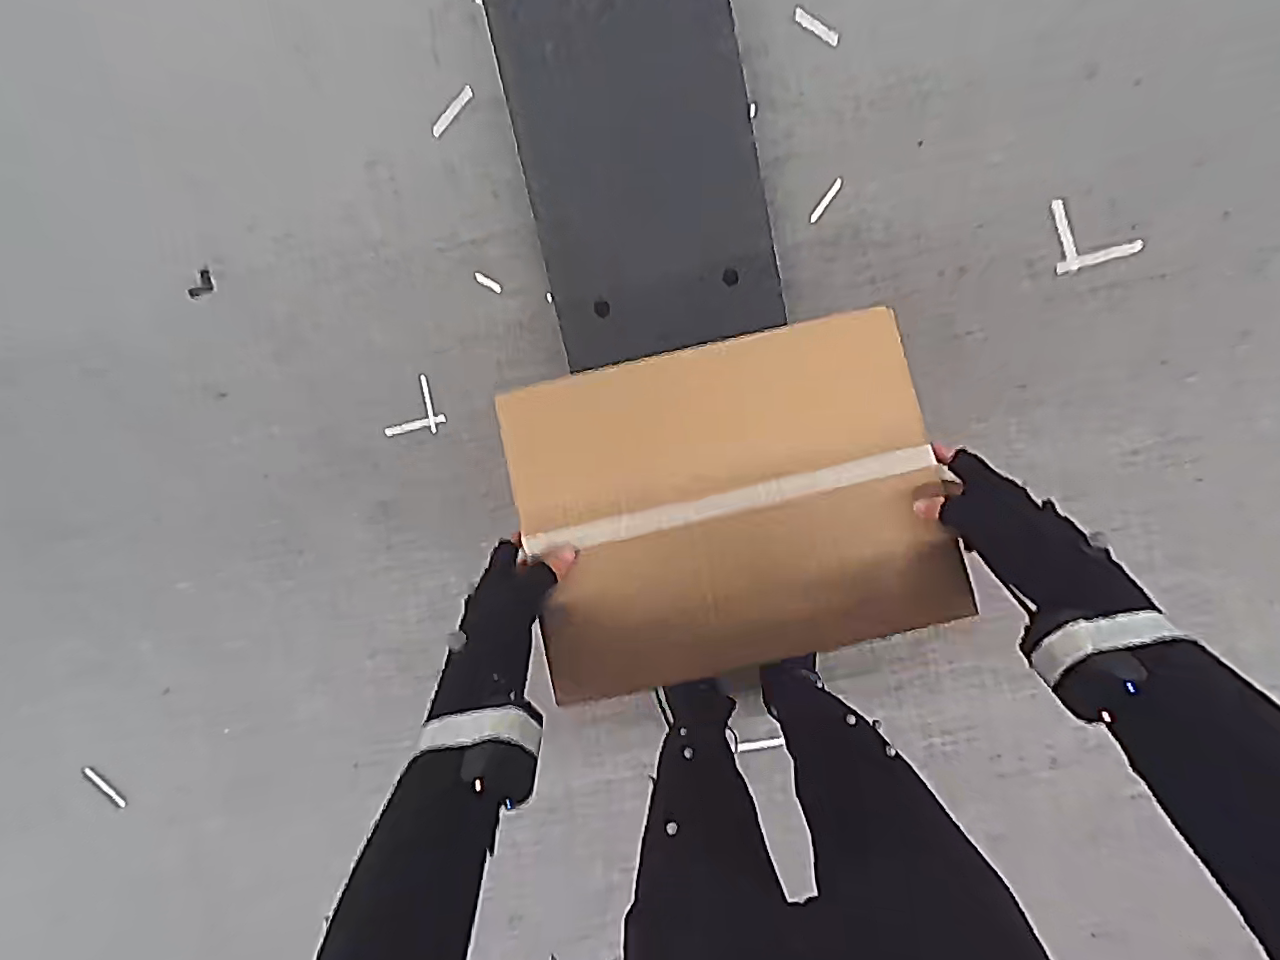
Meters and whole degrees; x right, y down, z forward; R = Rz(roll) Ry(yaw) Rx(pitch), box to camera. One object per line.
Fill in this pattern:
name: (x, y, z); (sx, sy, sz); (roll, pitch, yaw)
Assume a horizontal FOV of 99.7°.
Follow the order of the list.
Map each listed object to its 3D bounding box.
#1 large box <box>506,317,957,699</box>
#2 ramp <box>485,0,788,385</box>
large box: (0.090, 0.036, 0.689); (0.408, 0.320, 0.320); (-12, 83, 0)
ramp: (0.014, -0.609, 1.155); (0.509, 0.206, 0.991); (-13, 88, 3)
